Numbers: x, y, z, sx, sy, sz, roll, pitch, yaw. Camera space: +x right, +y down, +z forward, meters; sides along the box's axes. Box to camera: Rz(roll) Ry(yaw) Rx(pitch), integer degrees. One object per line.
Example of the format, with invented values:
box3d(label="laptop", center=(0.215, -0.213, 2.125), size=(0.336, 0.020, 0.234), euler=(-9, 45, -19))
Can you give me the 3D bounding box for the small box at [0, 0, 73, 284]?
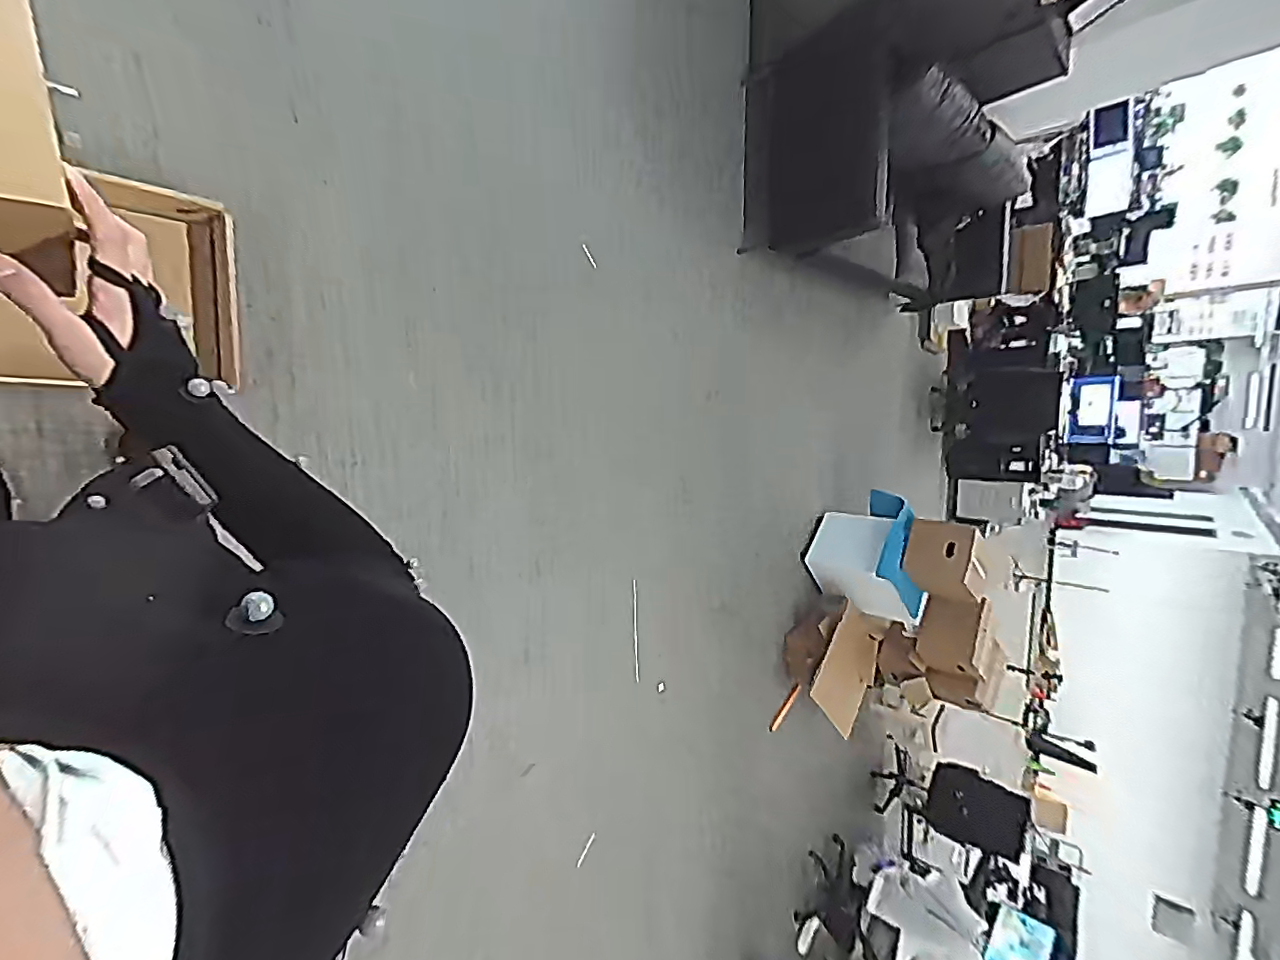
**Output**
box3d(label="small box", center=(-0.518, -0.253, 0.367), size=(0.168, 0.176, 0.179), euler=(-12, 90, -47))
